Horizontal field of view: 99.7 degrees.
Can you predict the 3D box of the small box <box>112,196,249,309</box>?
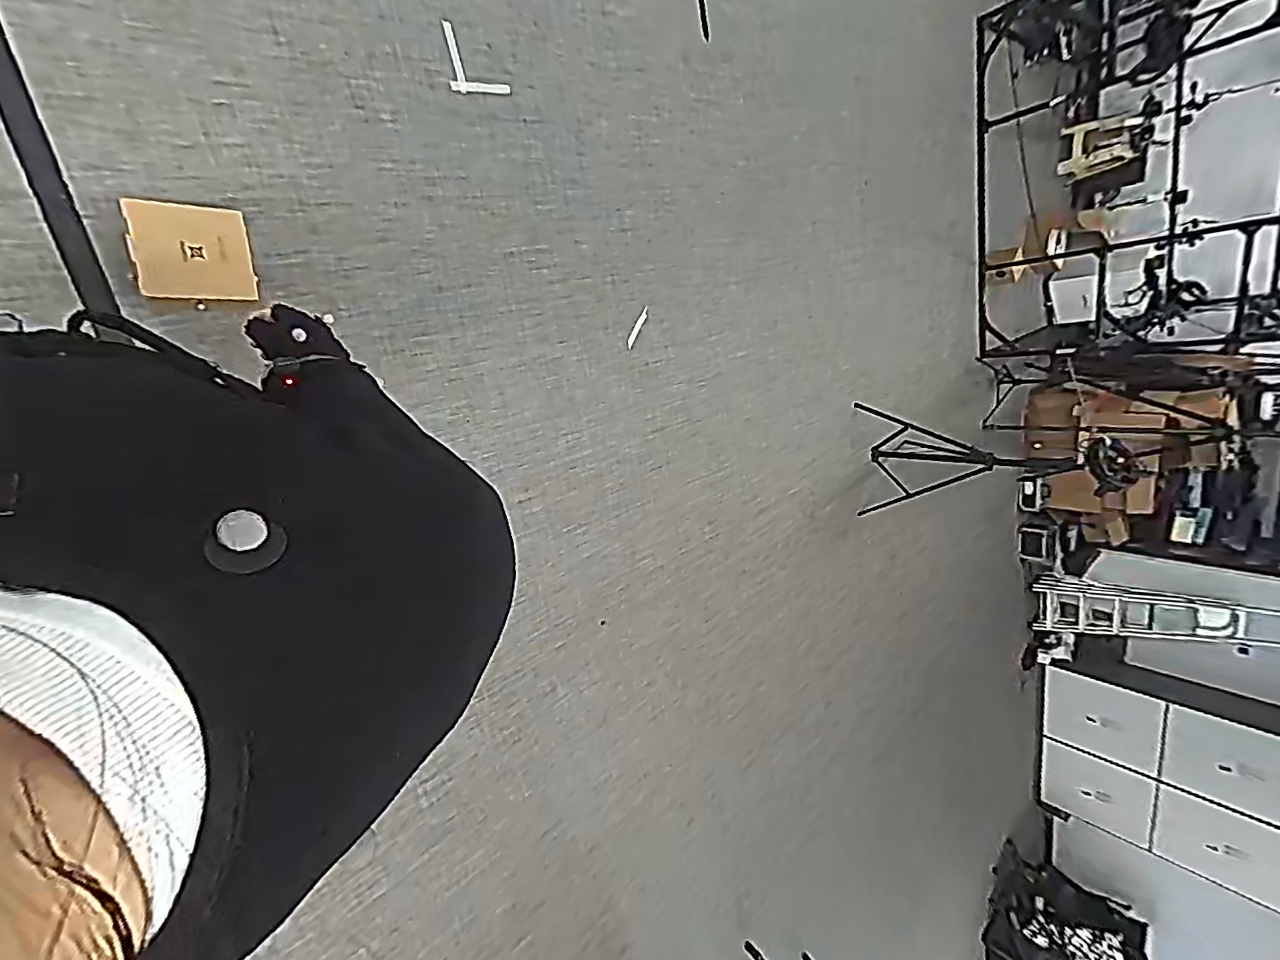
[{"bbox_3d":[-0.891,-0.433,1.060,0.179,0.176,0.168,-12,104,-39],"label":"small box"}]
